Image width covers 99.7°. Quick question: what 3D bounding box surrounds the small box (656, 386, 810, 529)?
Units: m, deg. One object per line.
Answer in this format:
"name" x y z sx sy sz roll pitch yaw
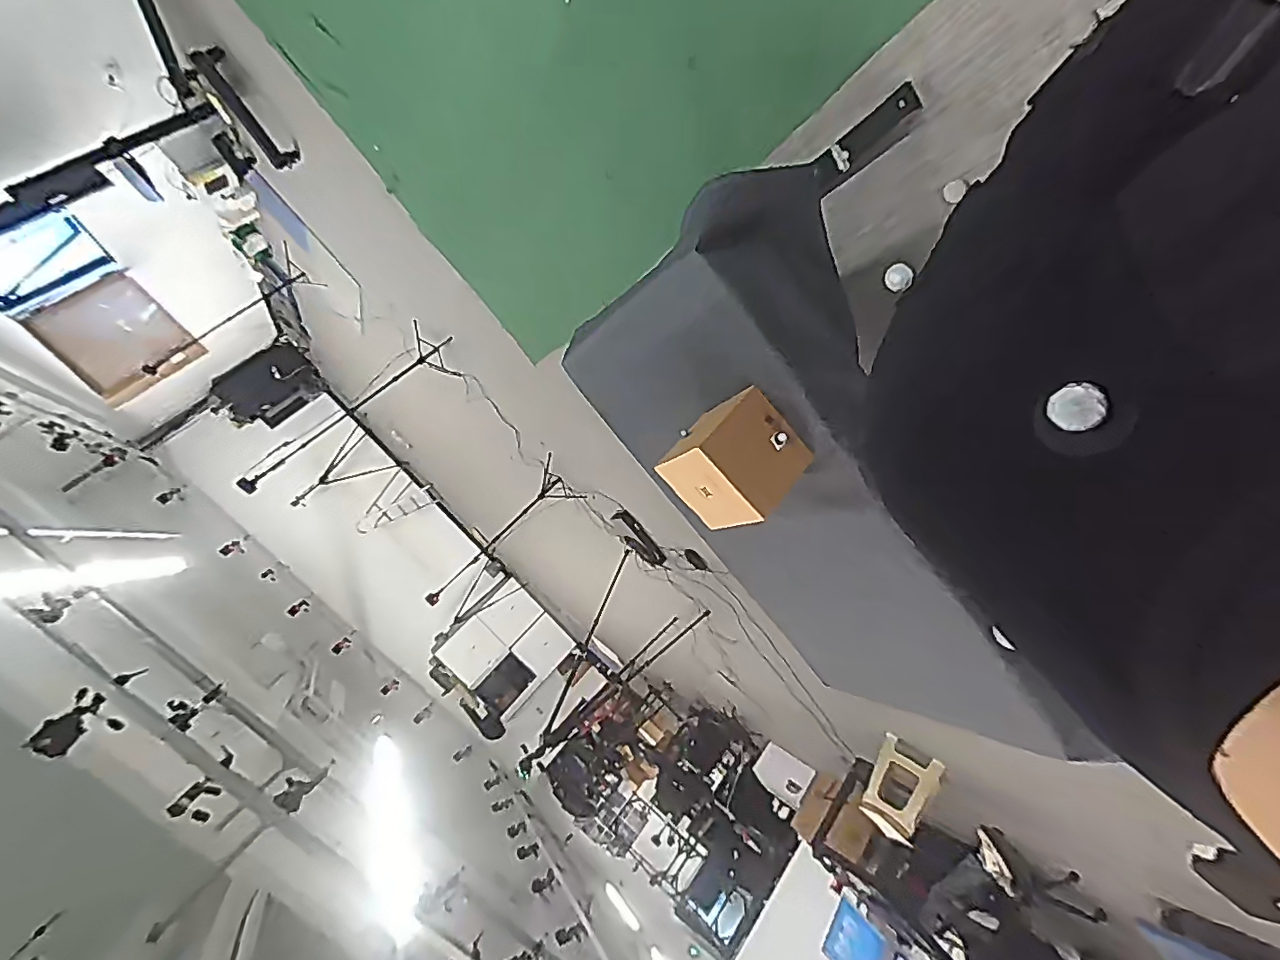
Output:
"small box" 0.165 -0.035 0.961 0.168 0.176 0.179 46 156 -8
